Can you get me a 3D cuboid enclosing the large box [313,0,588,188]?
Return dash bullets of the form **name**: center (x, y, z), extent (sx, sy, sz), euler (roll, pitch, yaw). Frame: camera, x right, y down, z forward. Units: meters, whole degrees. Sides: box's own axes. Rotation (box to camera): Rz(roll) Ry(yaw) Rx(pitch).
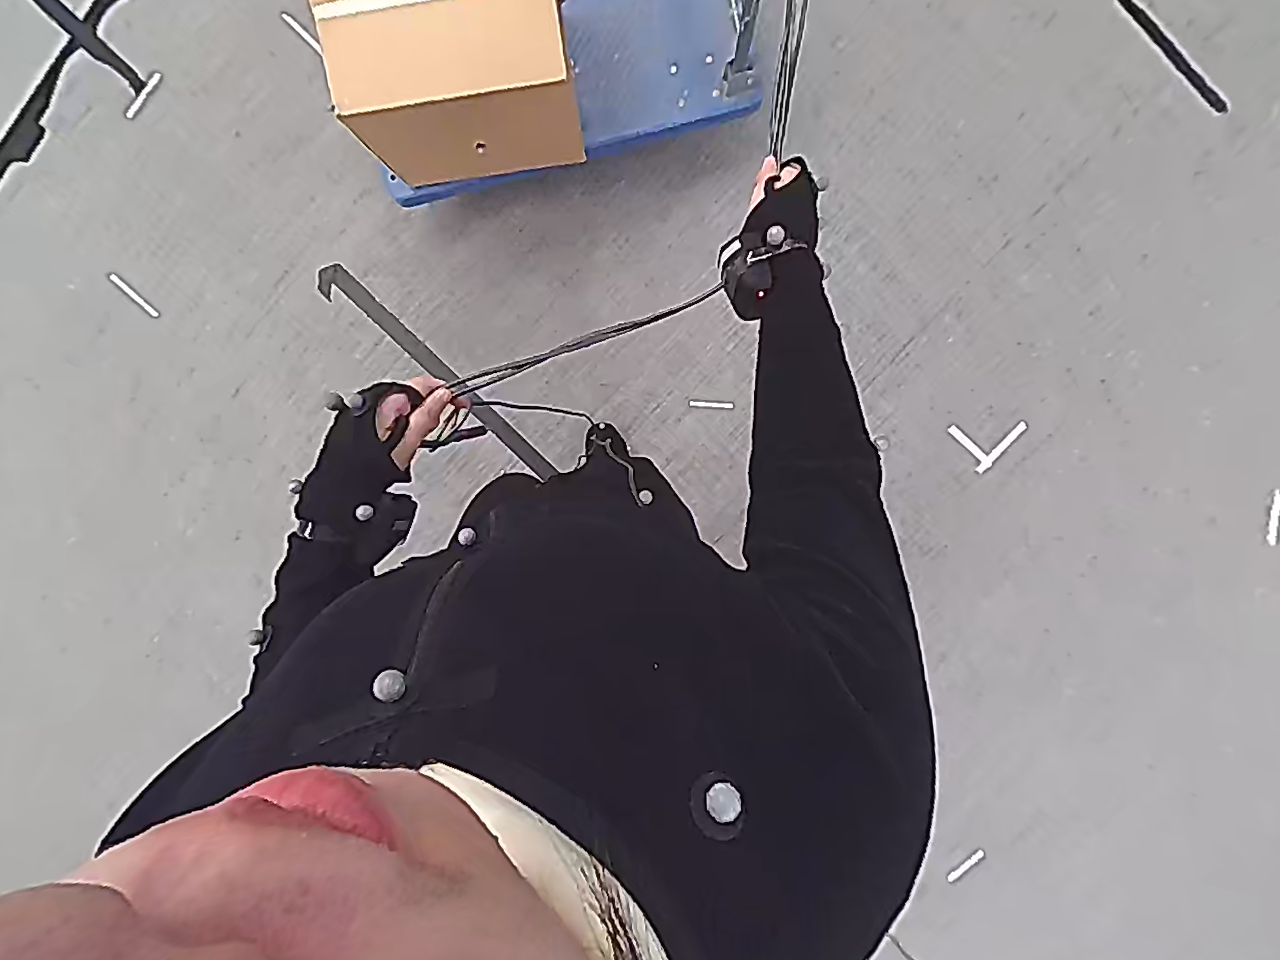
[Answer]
- **large box**: center (-0.335, -0.806, 1.038), extent (0.408, 0.320, 0.320), euler (-8, 97, 2)
